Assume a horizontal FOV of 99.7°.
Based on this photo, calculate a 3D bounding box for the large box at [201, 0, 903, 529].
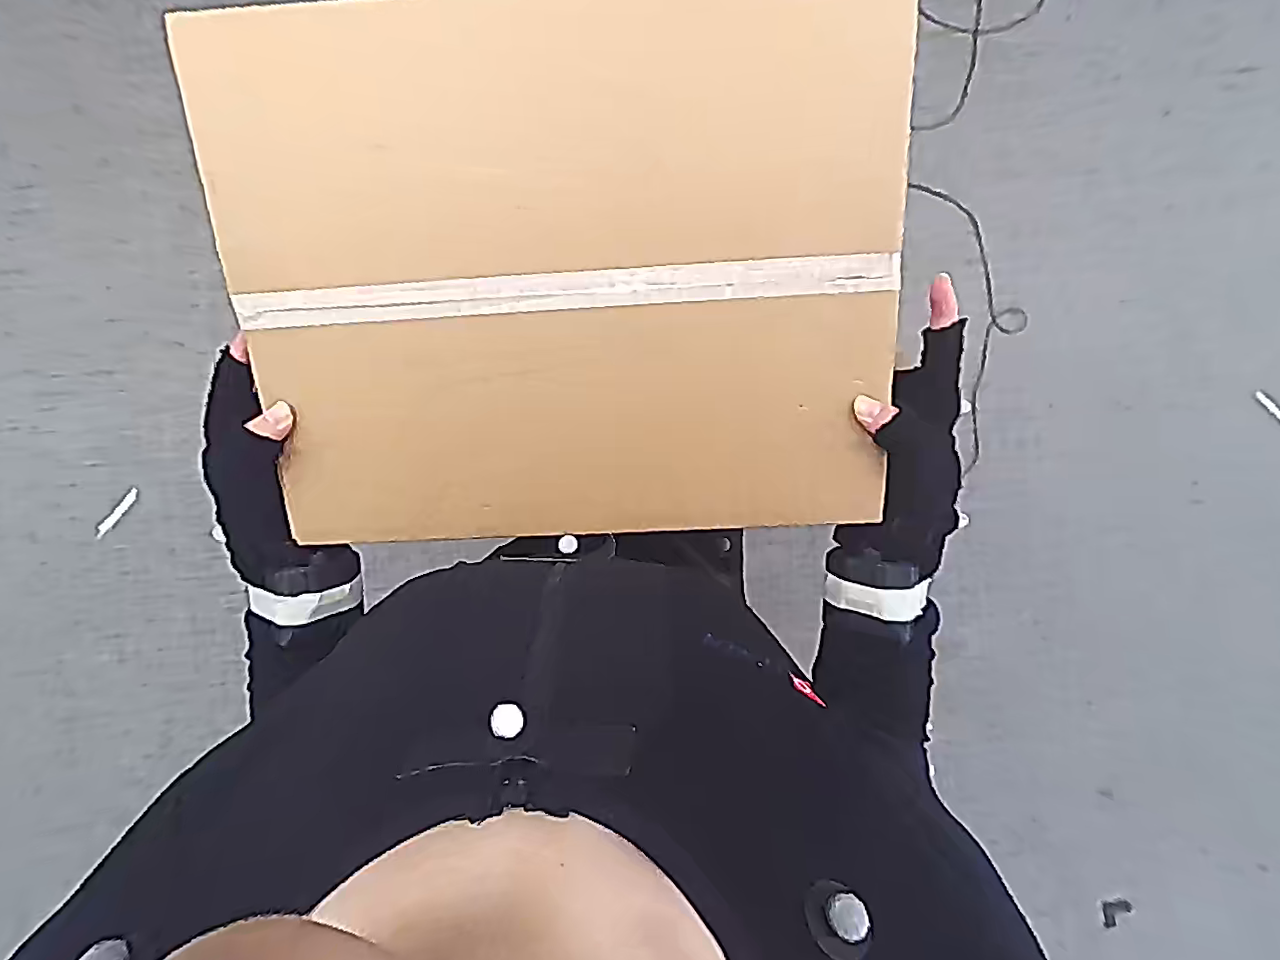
[{"bbox_3d":[-0.043,-0.162,0.481,0.408,0.320,0.320,-3,106,2],"label":"large box"}]
